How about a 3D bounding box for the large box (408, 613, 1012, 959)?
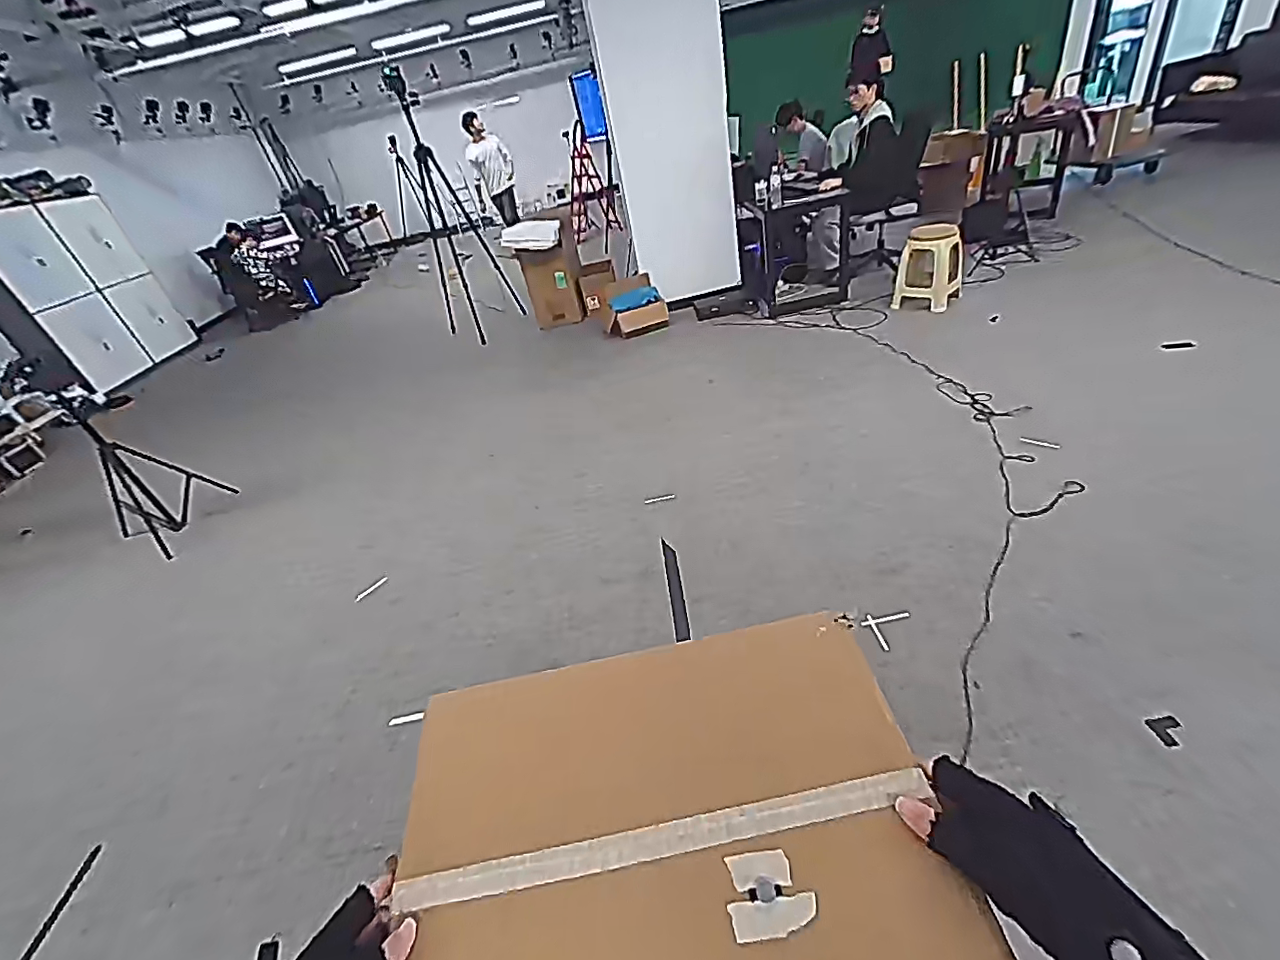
[{"bbox_3d":[0.044,0.381,0.515,0.408,0.320,0.320,-12,43,-1],"label":"large box"}]
